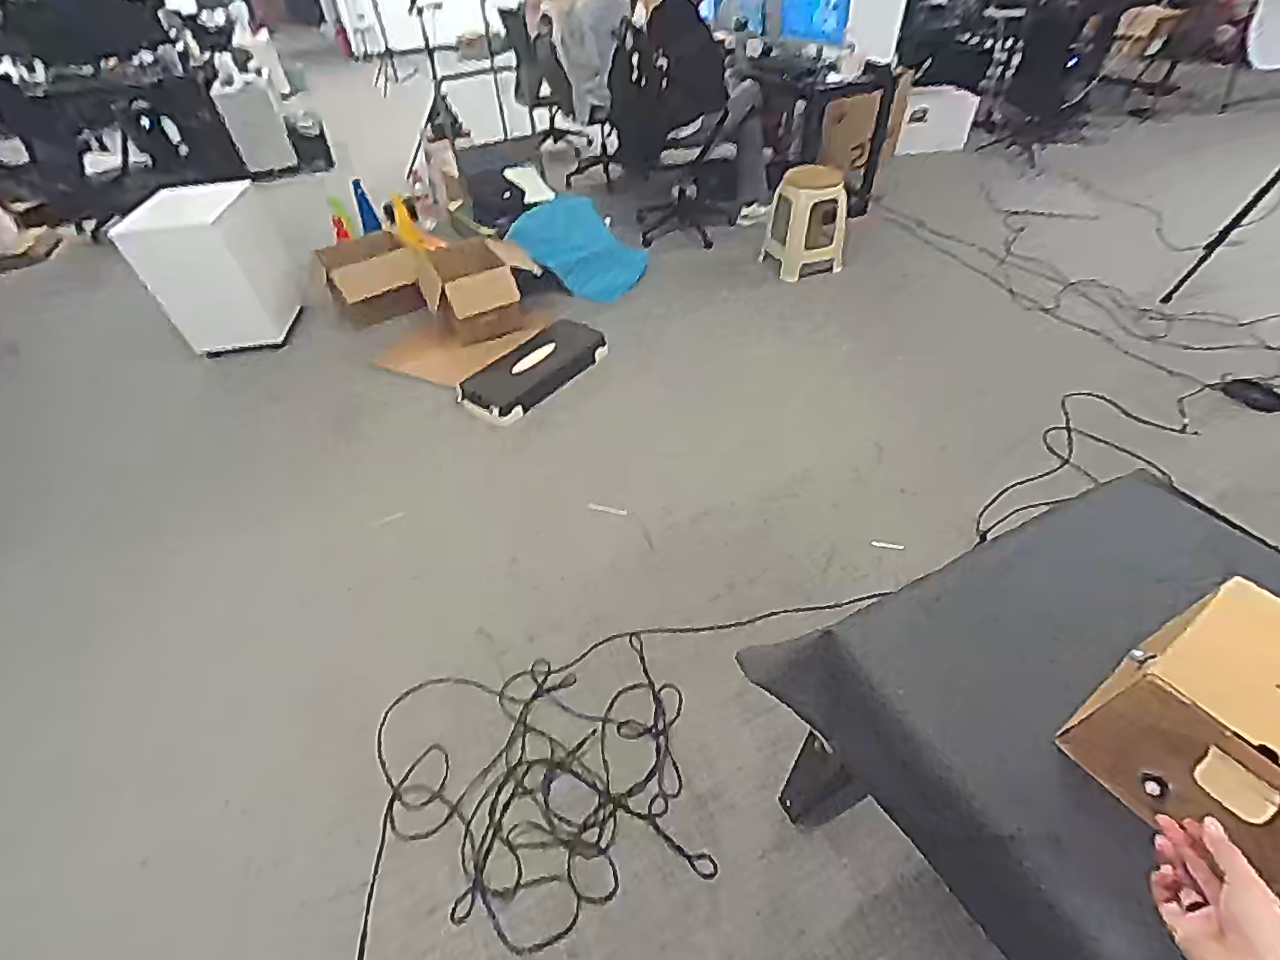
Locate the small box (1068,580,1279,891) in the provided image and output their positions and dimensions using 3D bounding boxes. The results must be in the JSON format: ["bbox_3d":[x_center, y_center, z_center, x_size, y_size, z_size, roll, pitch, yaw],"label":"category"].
[{"bbox_3d":[0.553,0.232,0.499,0.179,0.176,0.168,-28,51,-21],"label":"small box"}]
